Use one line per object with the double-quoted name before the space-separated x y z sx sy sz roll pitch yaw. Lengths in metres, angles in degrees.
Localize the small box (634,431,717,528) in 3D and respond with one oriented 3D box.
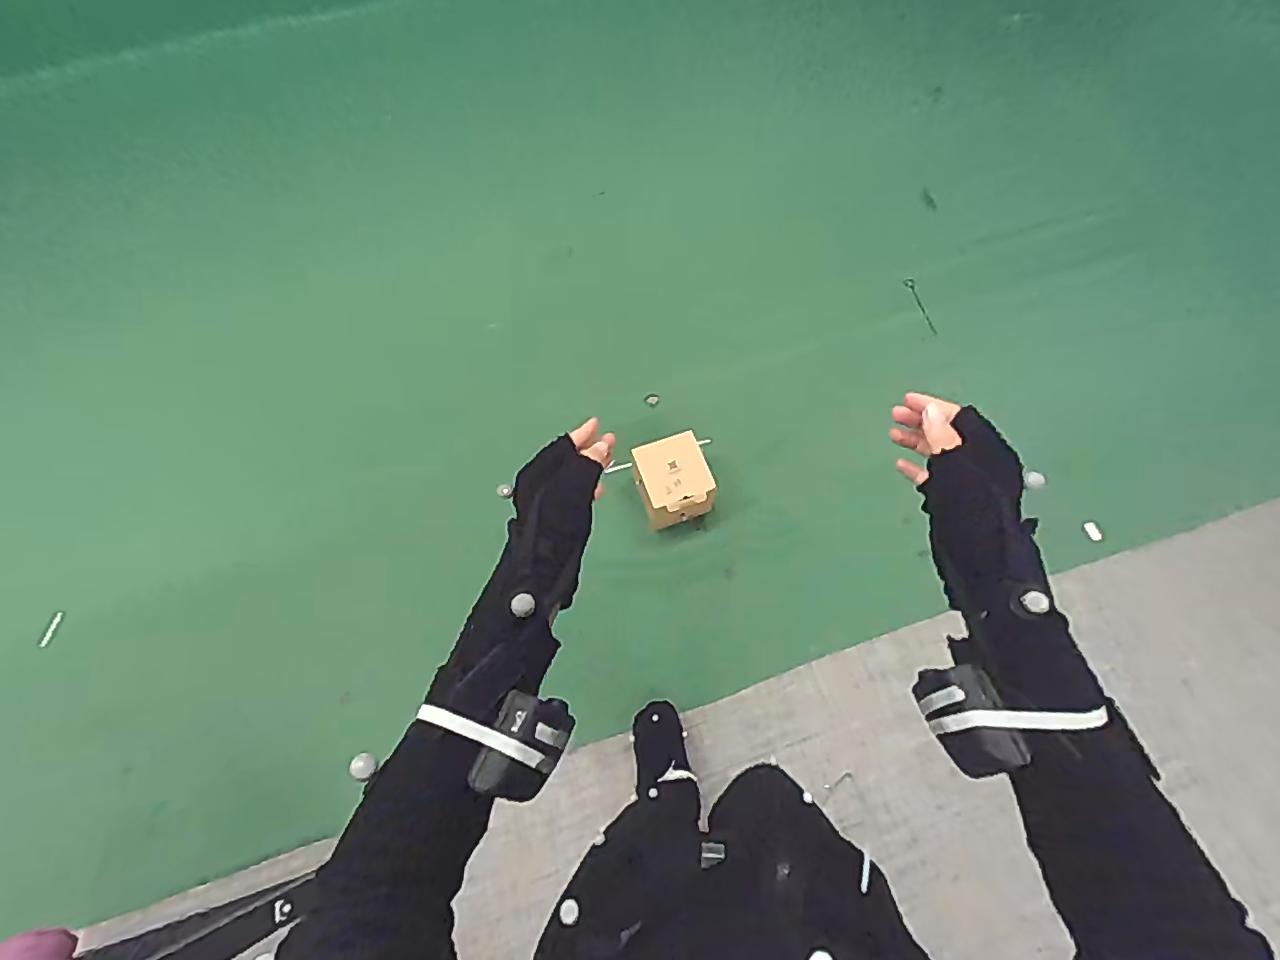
"small box" 0.086 0.004 1.418 0.168 0.176 0.179 -18 68 -6
